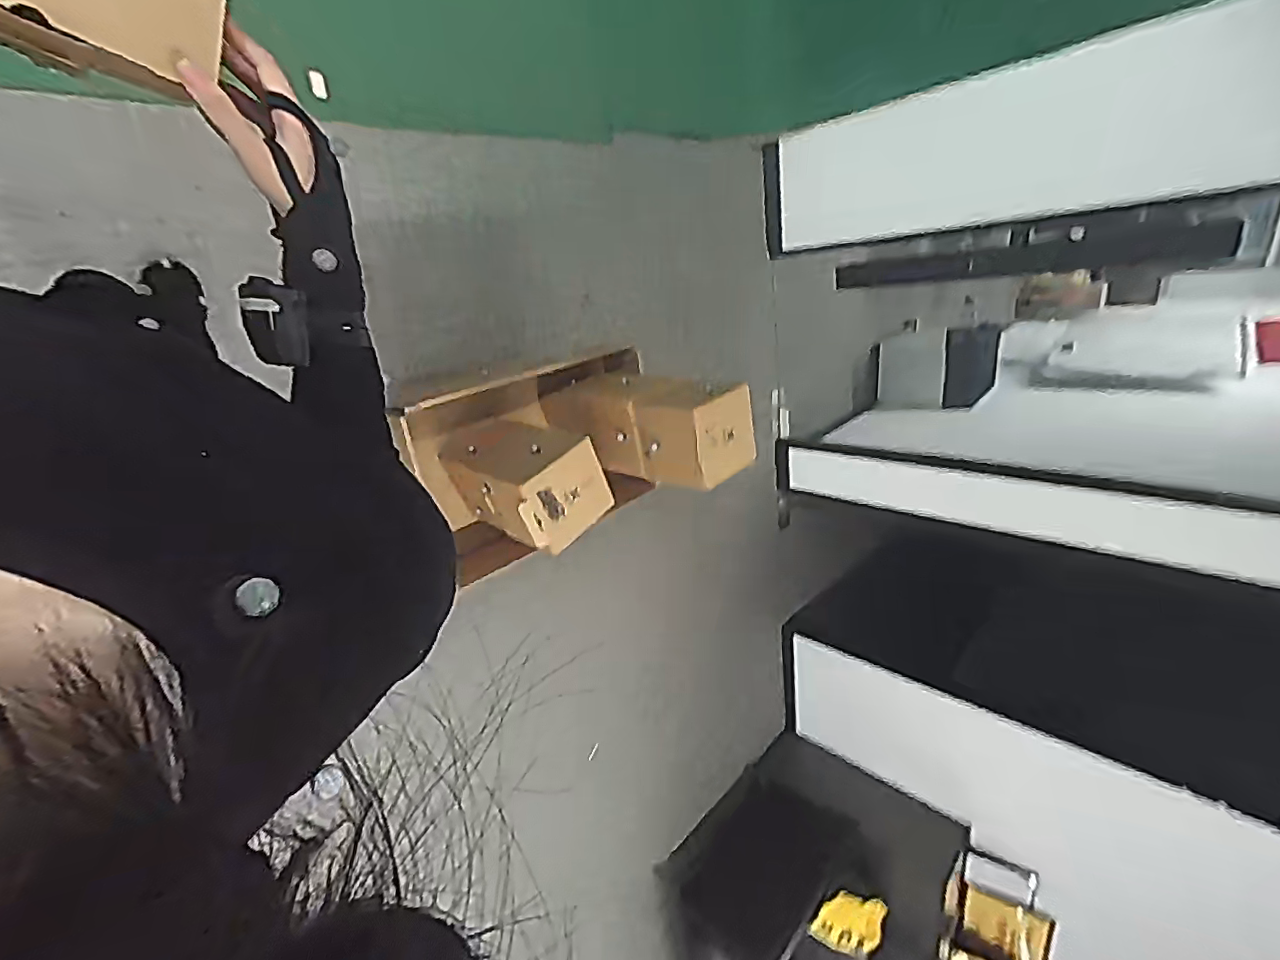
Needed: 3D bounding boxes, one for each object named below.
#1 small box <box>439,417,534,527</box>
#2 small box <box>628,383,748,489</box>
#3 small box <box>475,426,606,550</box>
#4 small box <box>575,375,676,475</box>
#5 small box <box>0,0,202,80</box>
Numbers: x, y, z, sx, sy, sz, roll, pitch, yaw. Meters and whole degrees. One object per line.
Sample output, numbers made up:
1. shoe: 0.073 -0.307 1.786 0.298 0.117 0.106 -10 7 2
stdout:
1. small box: -0.318 -0.025 1.196 0.179 0.176 0.168 -40 127 -32
2. small box: 0.100 -0.101 1.123 0.179 0.176 0.168 -28 118 -37
3. small box: -0.205 0.008 1.083 0.179 0.176 0.168 -41 128 -32
4. small box: -0.023 -0.132 1.228 0.168 0.176 0.179 -31 120 -36
5. small box: -0.371 -0.381 0.325 0.168 0.176 0.179 2 116 -47
